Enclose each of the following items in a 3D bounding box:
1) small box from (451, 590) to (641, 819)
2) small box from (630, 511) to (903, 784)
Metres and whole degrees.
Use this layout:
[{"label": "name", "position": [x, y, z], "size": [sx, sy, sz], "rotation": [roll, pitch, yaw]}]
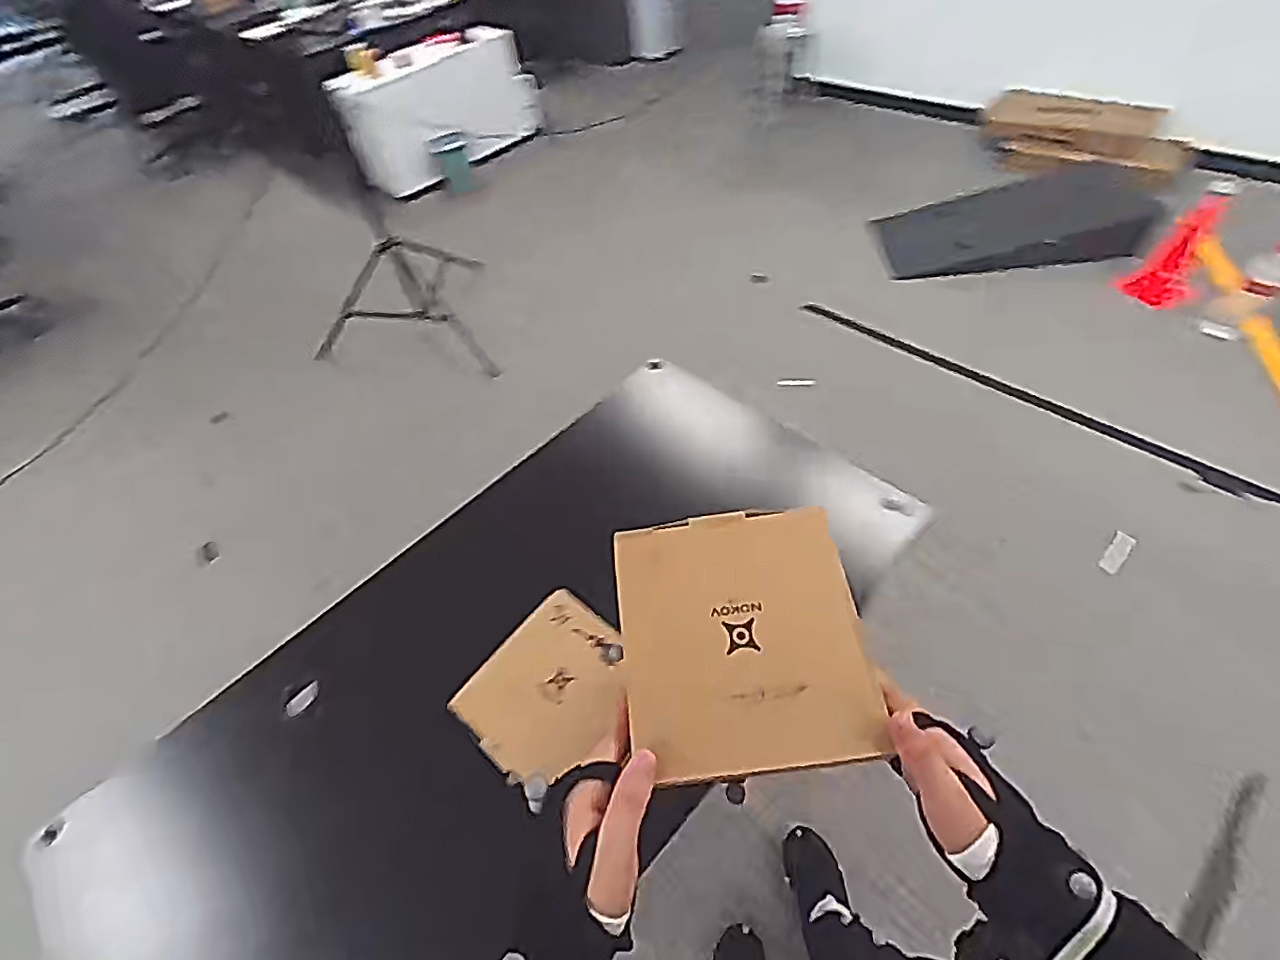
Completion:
[{"label": "small box", "position": [-0.086, 0.276, 0.658], "size": [0.168, 0.176, 0.179], "rotation": [31, 64, 28]}, {"label": "small box", "position": [0.083, 0.145, 0.447], "size": [0.168, 0.176, 0.179], "rotation": [-6, 60, 2]}]
